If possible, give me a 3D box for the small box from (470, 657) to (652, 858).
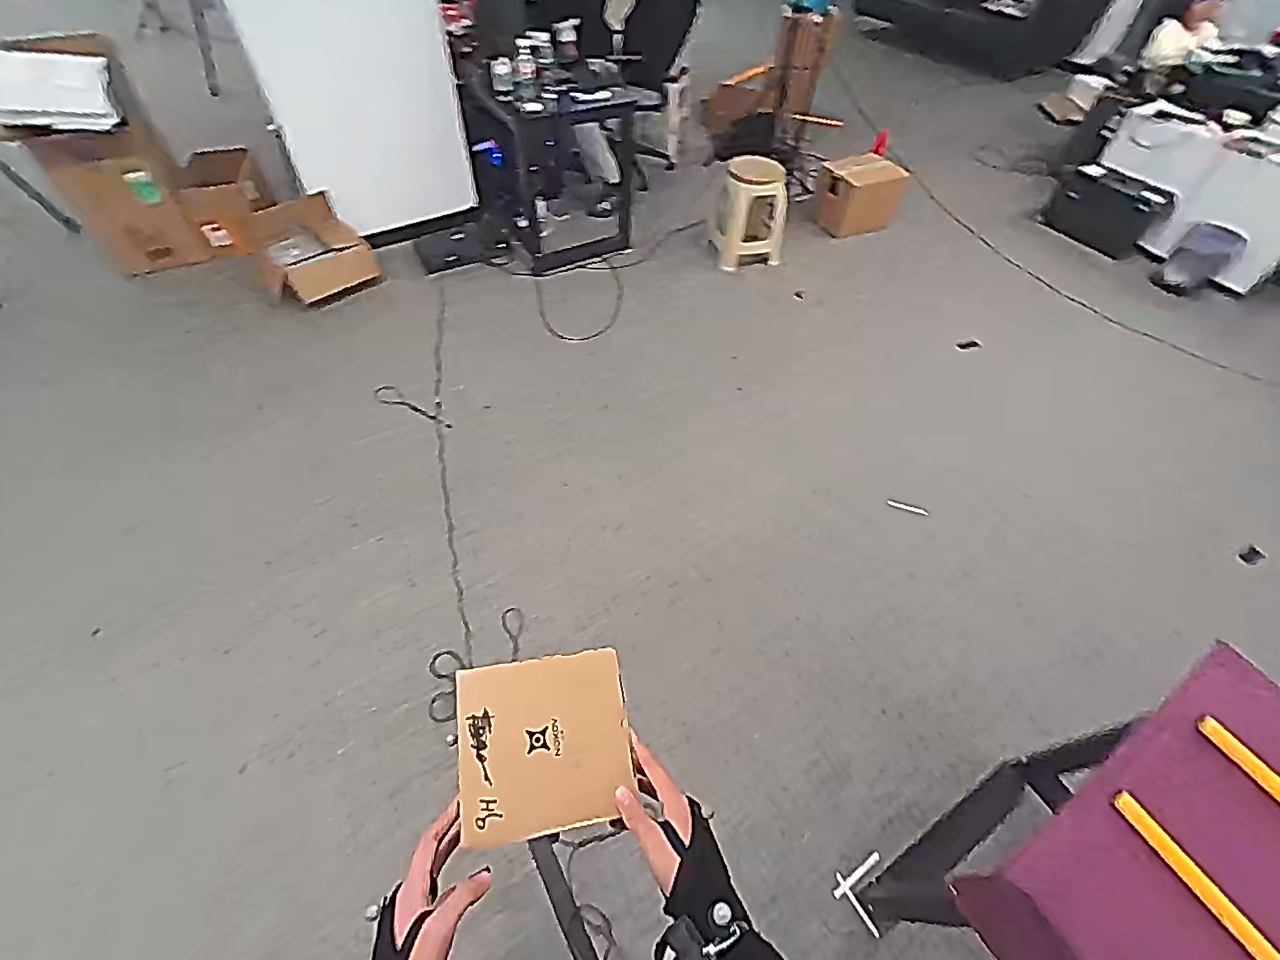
[{"bbox_3d":[-0.097,0.309,0.618,0.179,0.176,0.168,-3,62,-13],"label":"small box"}]
